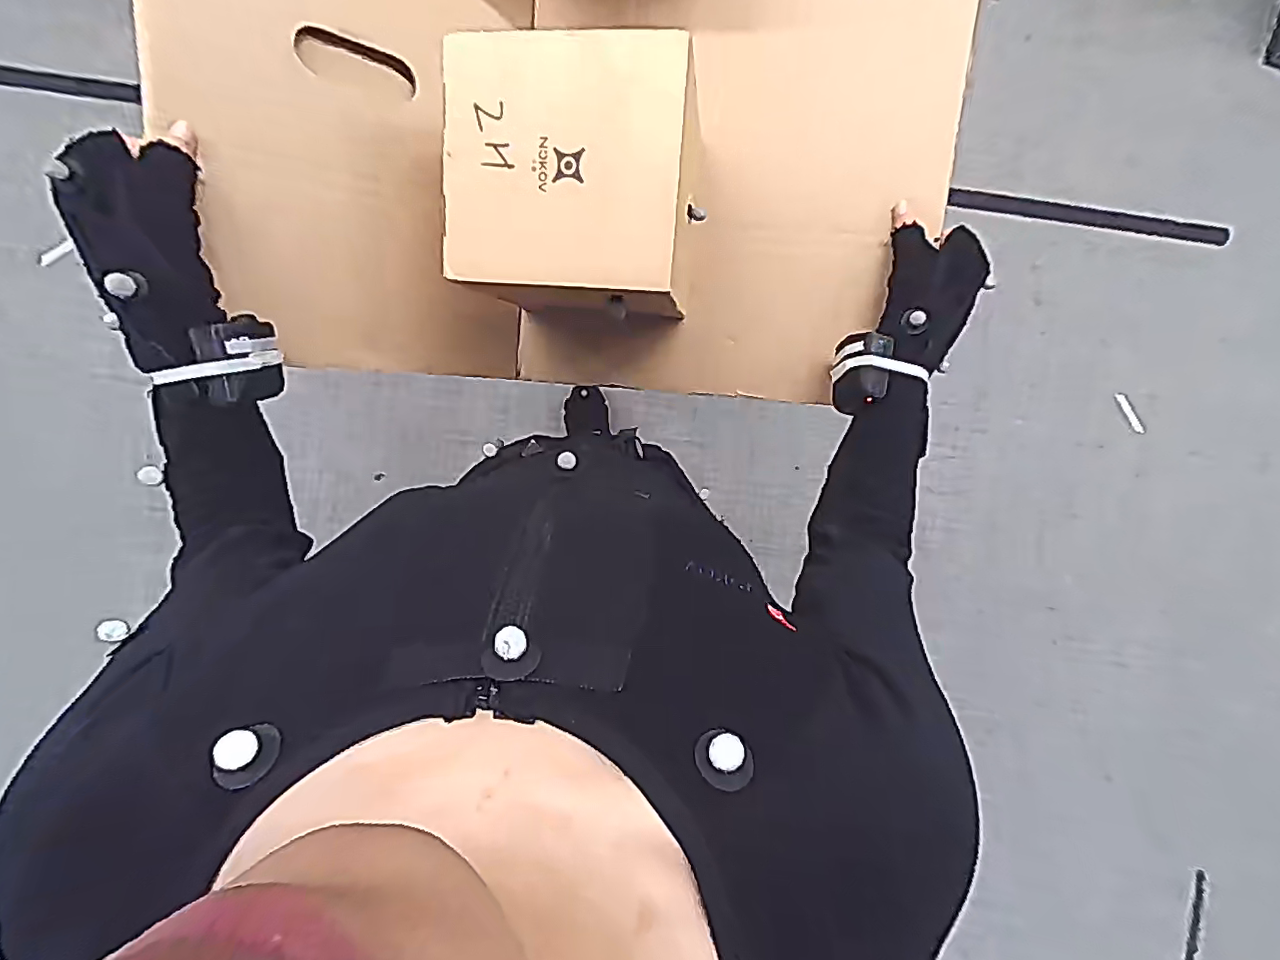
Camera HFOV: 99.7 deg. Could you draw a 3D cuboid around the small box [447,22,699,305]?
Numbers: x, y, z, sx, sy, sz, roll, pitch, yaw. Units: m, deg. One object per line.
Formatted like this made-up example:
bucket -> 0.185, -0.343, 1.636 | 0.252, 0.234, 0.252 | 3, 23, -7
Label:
small box -> -0.045, -0.250, 0.467 | 0.179, 0.176, 0.168 | 6, 101, 8
